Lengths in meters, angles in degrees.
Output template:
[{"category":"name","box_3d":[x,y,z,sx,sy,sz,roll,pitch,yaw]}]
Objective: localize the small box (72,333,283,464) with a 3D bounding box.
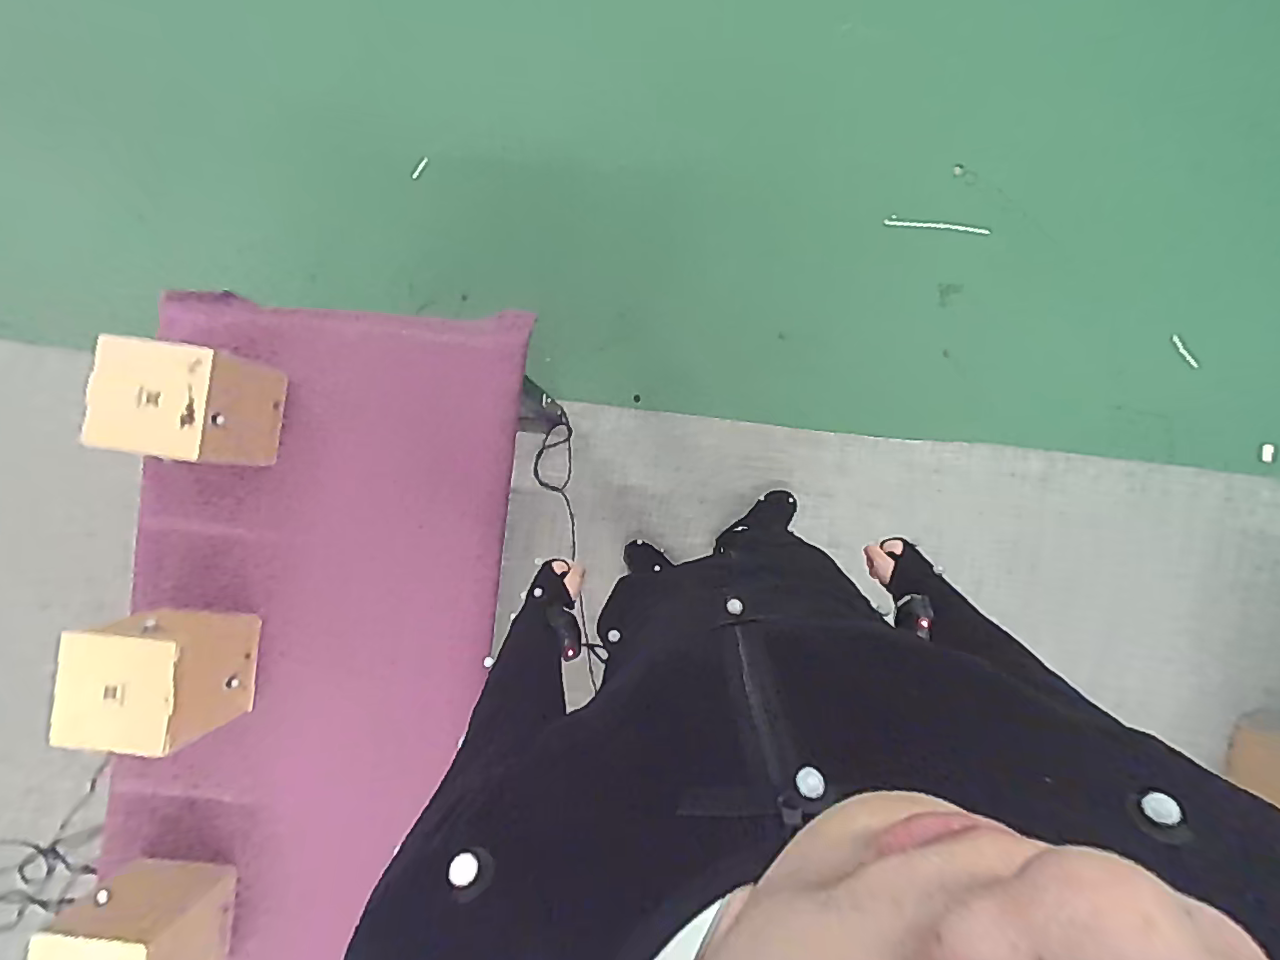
[{"category":"small box","box_3d":[-0.710,-0.118,0.848,0.179,0.176,0.168,8,90,1]}]

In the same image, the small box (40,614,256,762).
[{"category":"small box","box_3d":[-0.750,0.310,0.842,0.179,0.176,0.168,4,88,1]}]
